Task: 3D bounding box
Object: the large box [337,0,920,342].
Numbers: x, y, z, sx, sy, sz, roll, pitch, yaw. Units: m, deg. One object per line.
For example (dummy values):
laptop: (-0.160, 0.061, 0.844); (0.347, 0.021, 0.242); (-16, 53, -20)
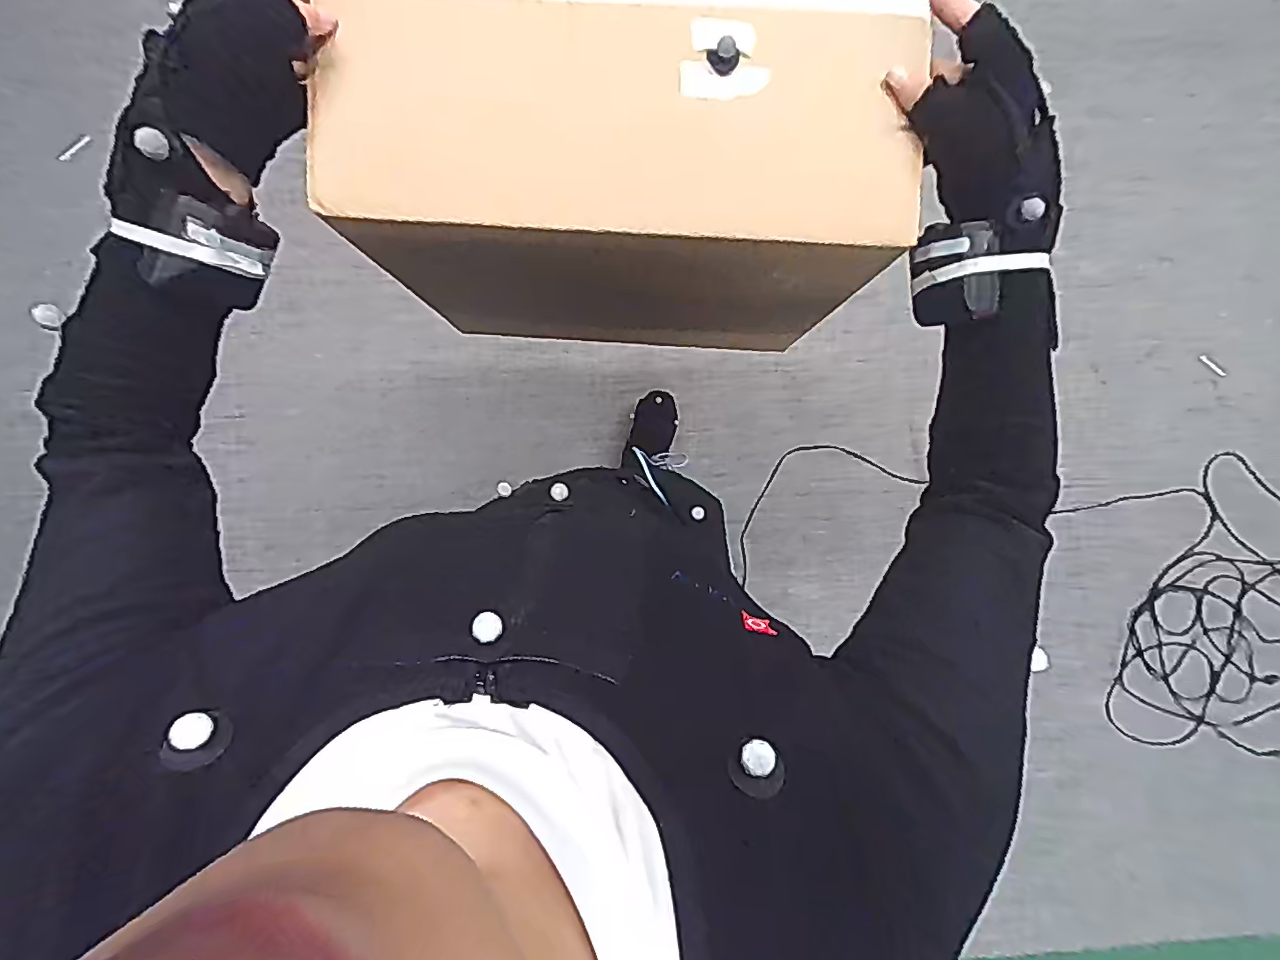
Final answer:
large box: (-0.008, -0.327, 0.520); (0.408, 0.320, 0.320); (3, 91, -1)
